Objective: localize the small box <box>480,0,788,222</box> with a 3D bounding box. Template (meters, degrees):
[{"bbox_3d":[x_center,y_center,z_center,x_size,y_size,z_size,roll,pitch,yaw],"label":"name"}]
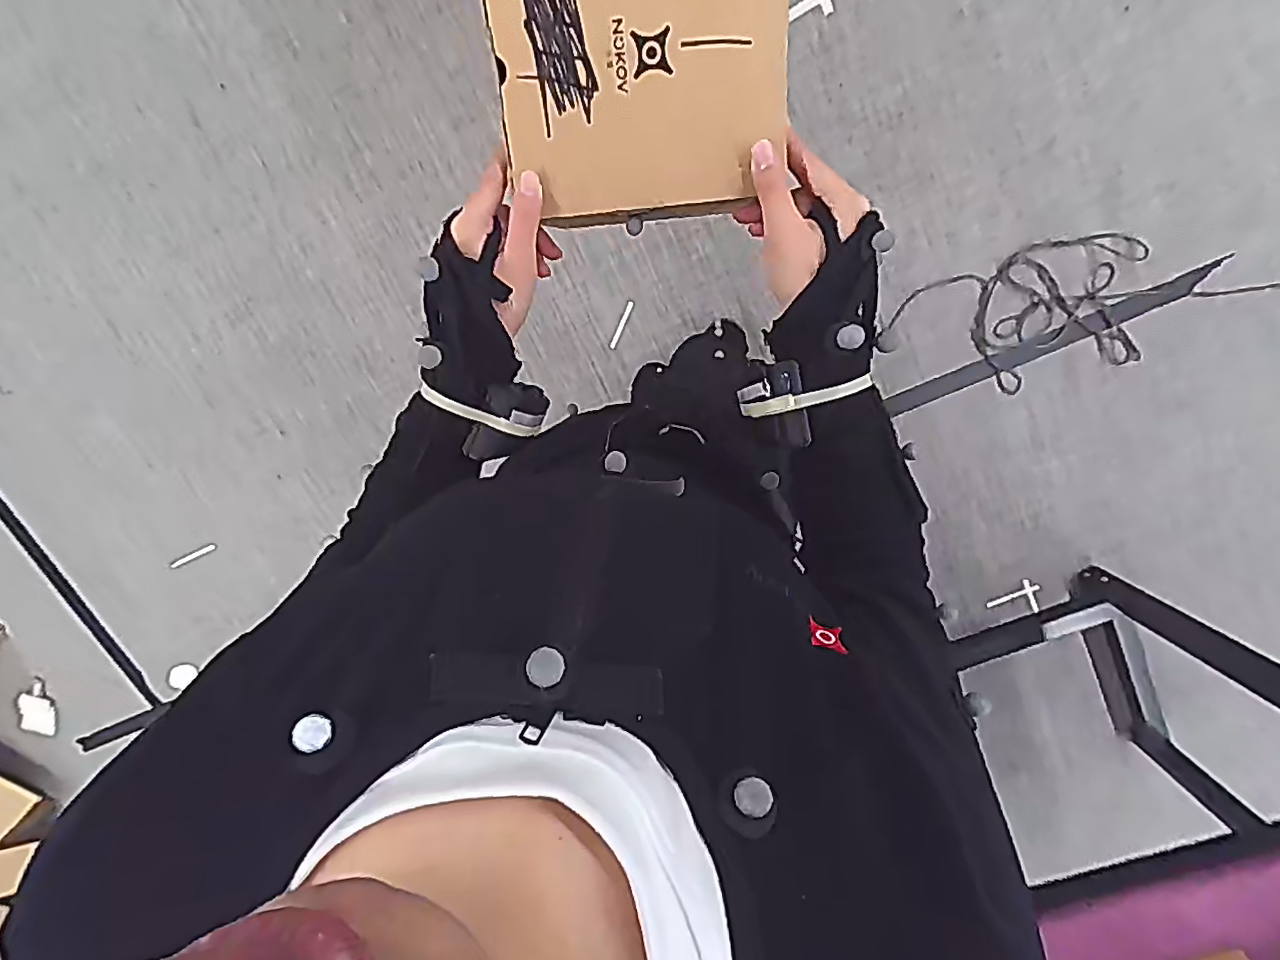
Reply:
[{"bbox_3d":[0.002,-0.284,0.387,0.179,0.176,0.168,-3,113,4],"label":"small box"}]
